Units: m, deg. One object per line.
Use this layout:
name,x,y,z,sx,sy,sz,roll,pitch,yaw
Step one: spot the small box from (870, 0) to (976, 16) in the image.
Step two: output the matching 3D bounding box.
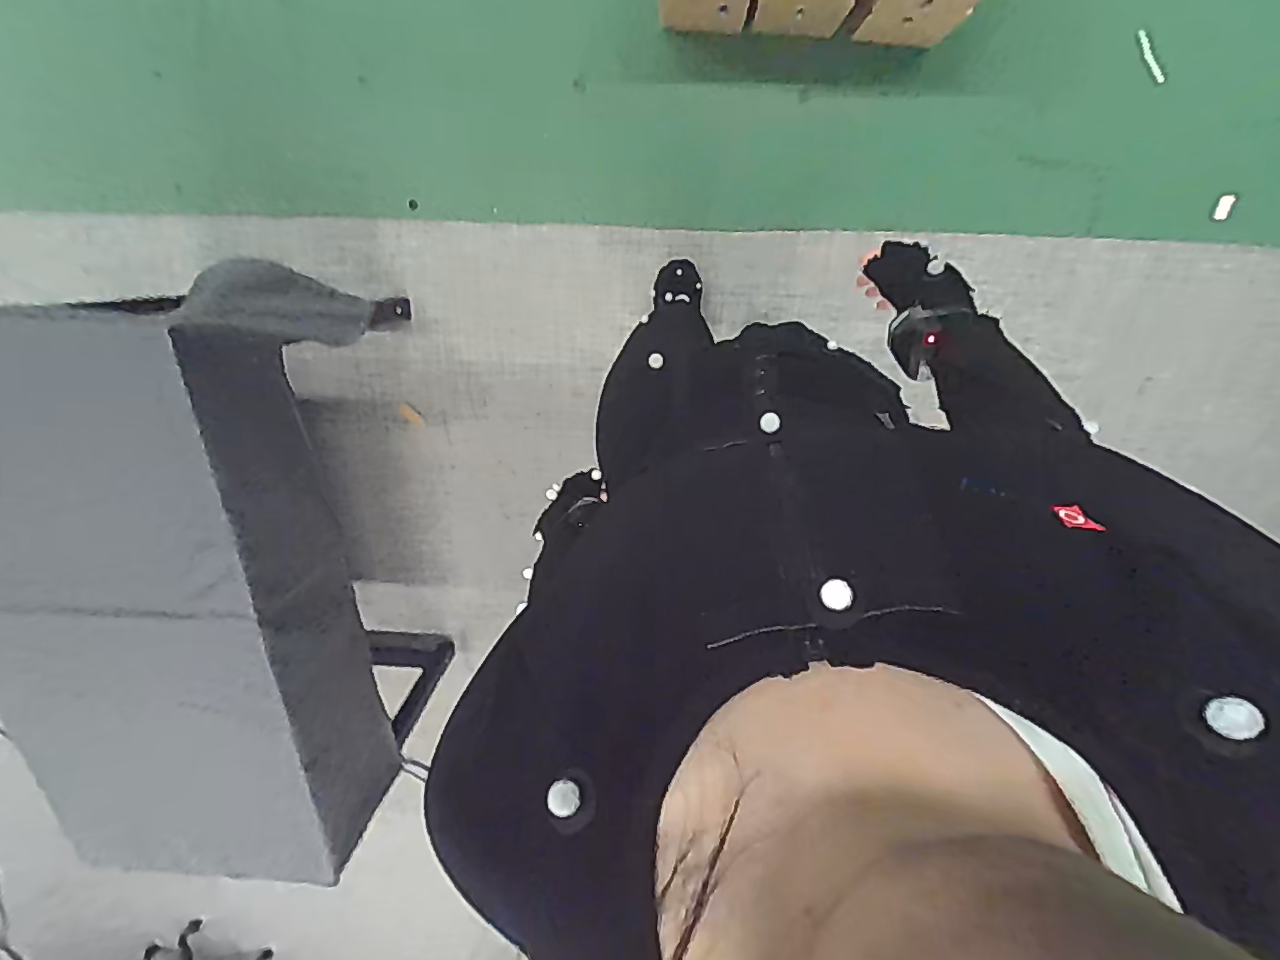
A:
small box,0.506,-0.898,0.886,0.179,0.176,0.168,3,112,2
